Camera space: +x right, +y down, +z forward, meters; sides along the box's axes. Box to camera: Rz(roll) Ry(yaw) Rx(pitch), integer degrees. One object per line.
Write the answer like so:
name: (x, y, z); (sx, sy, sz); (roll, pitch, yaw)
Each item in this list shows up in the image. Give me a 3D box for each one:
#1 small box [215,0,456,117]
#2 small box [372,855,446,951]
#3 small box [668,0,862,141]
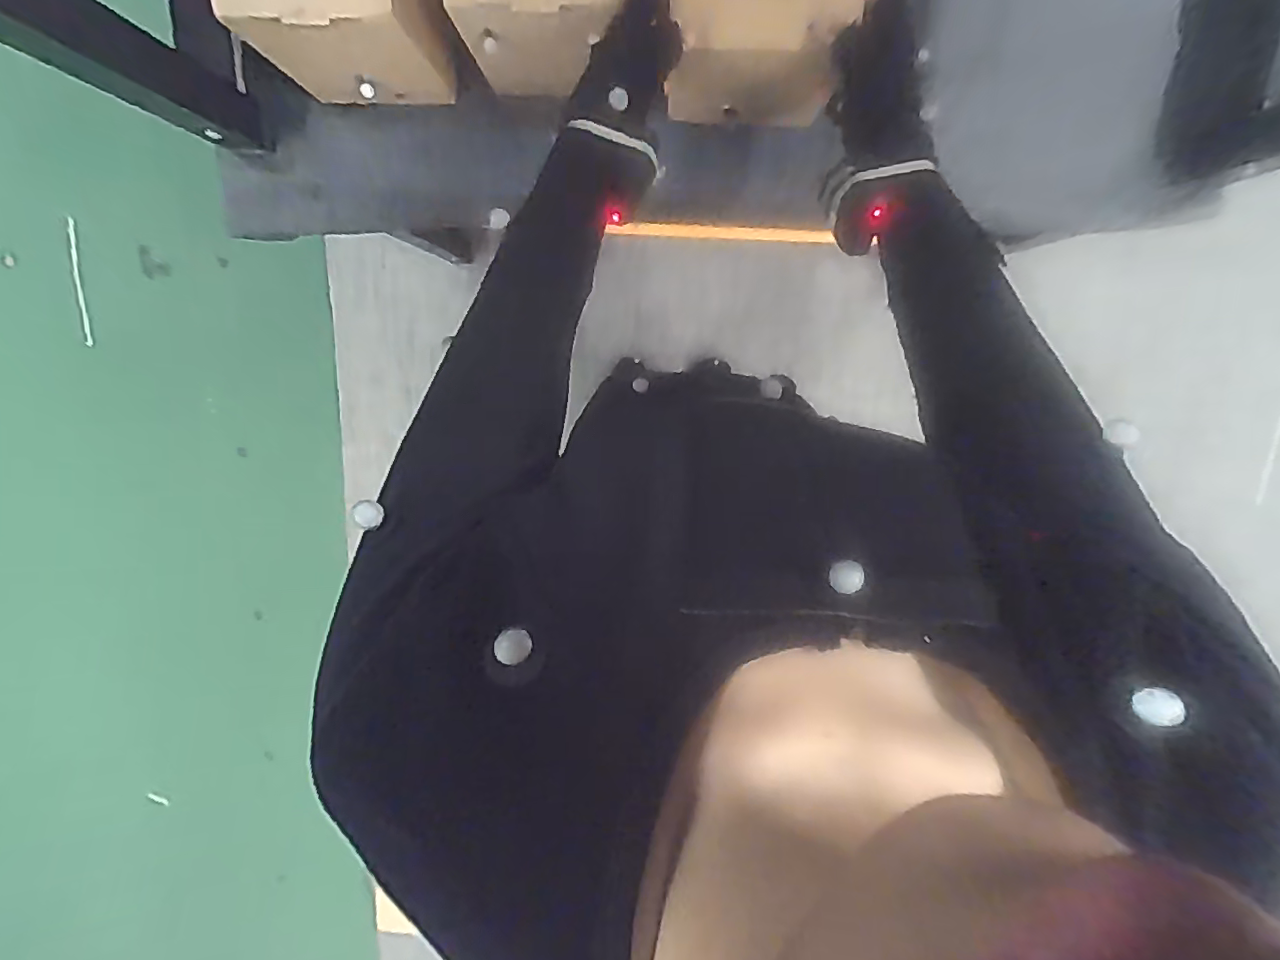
small box: (-0.297, -0.507, 0.551); (0.168, 0.176, 0.179); (1, 102, 0)
small box: (-0.725, 1.328, 1.706); (0.168, 0.176, 0.179); (5, 103, 0)
small box: (0.115, -0.468, 0.536); (0.168, 0.176, 0.179); (3, 104, 3)
